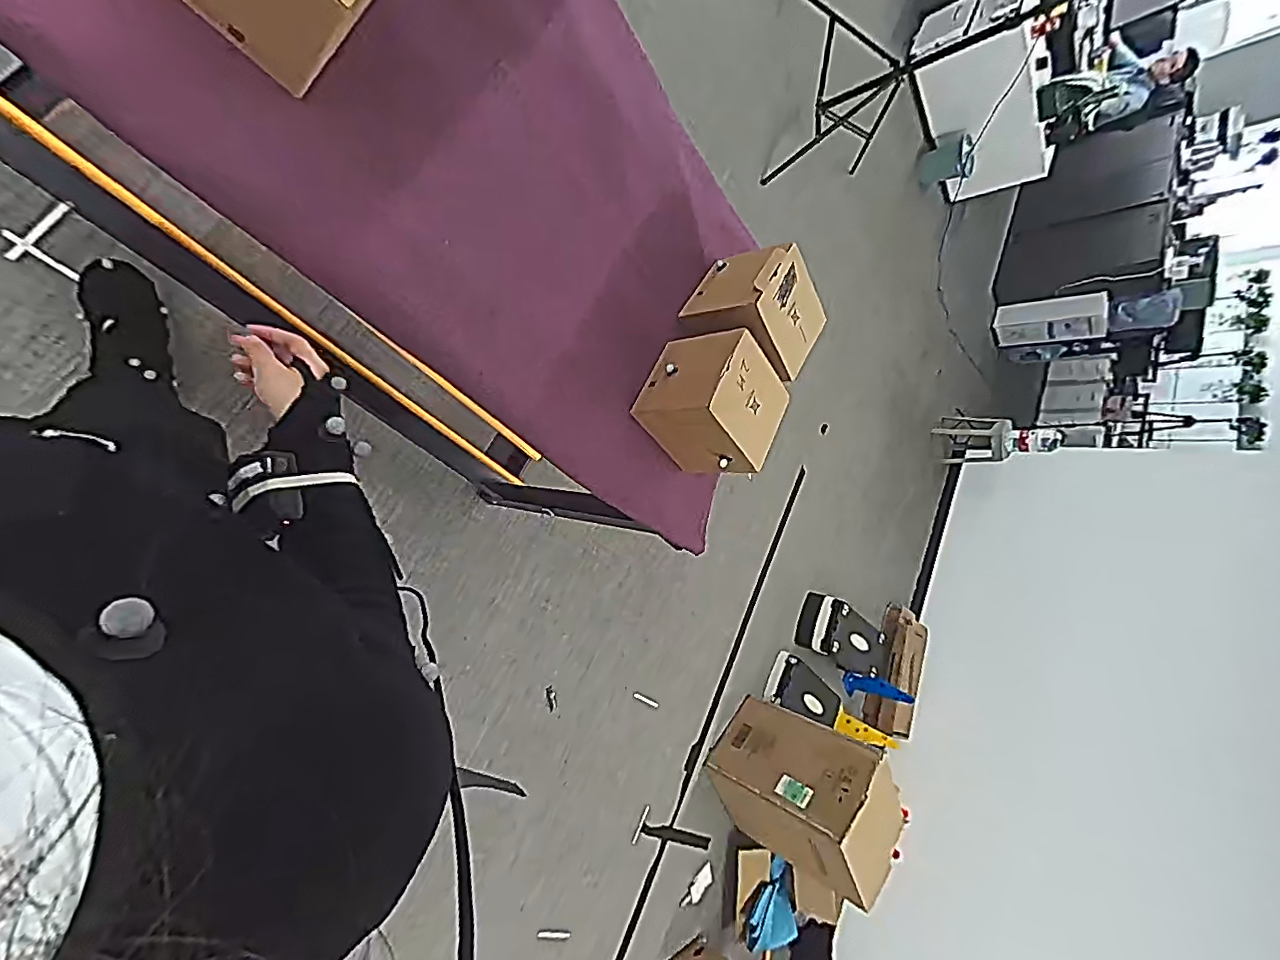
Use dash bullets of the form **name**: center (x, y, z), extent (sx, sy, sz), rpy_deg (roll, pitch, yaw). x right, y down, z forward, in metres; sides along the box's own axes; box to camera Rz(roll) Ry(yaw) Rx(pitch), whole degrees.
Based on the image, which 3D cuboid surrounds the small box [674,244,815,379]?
- **small box**: center (0.193, -0.299, 1.003), extent (0.179, 0.176, 0.168), rpy_deg (50, 62, -37)

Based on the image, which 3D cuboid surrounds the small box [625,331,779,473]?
- **small box**: center (0.108, -0.130, 0.936), extent (0.179, 0.176, 0.168), rpy_deg (45, 62, -37)
